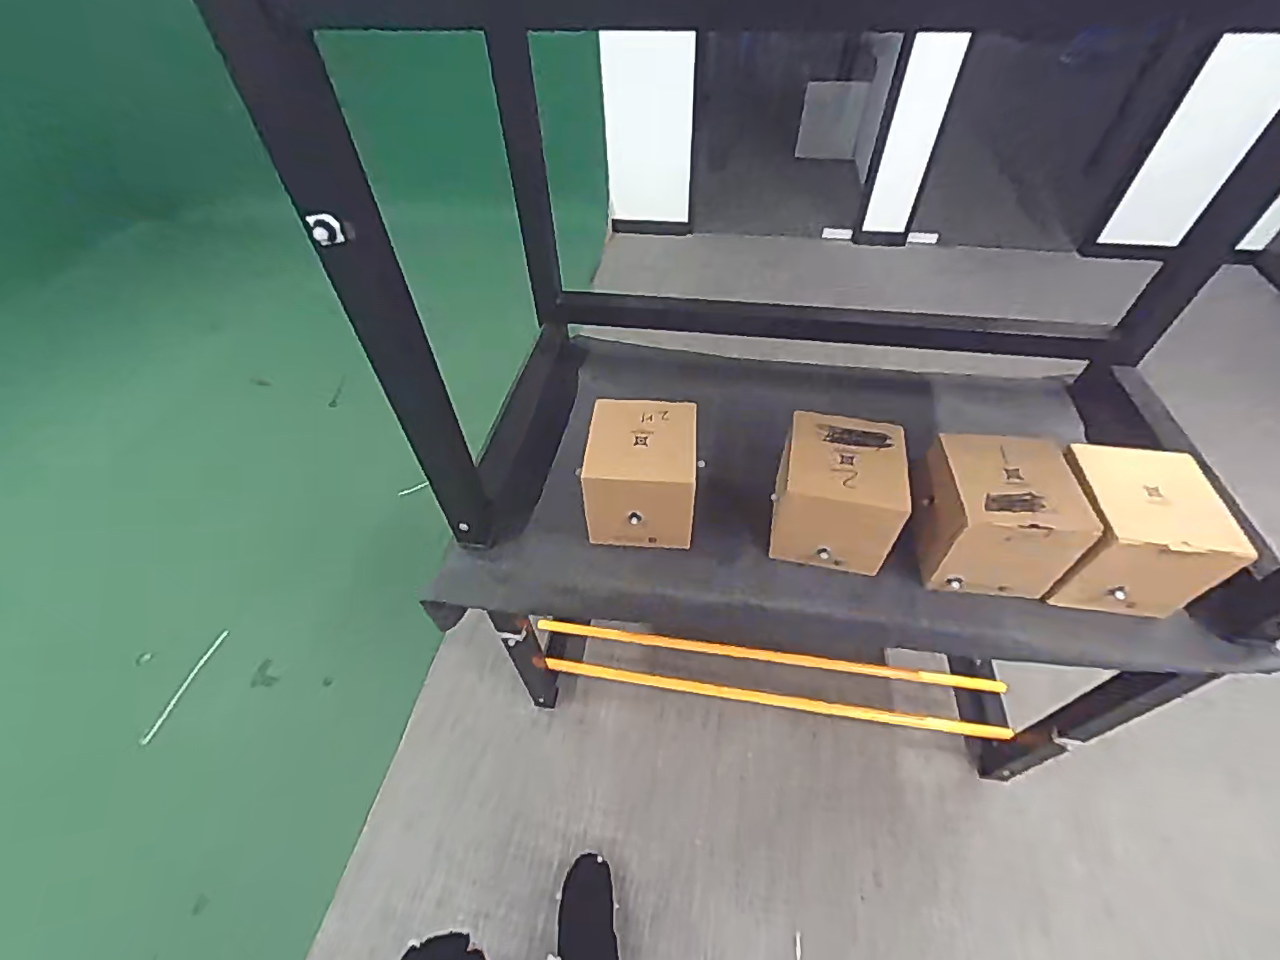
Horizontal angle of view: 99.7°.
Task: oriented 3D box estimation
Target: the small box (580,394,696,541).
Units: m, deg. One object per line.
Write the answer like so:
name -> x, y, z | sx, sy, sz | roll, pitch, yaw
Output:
small box -> 0.004, -0.018, 0.879 | 0.168, 0.176, 0.179 | 3, 48, 4
